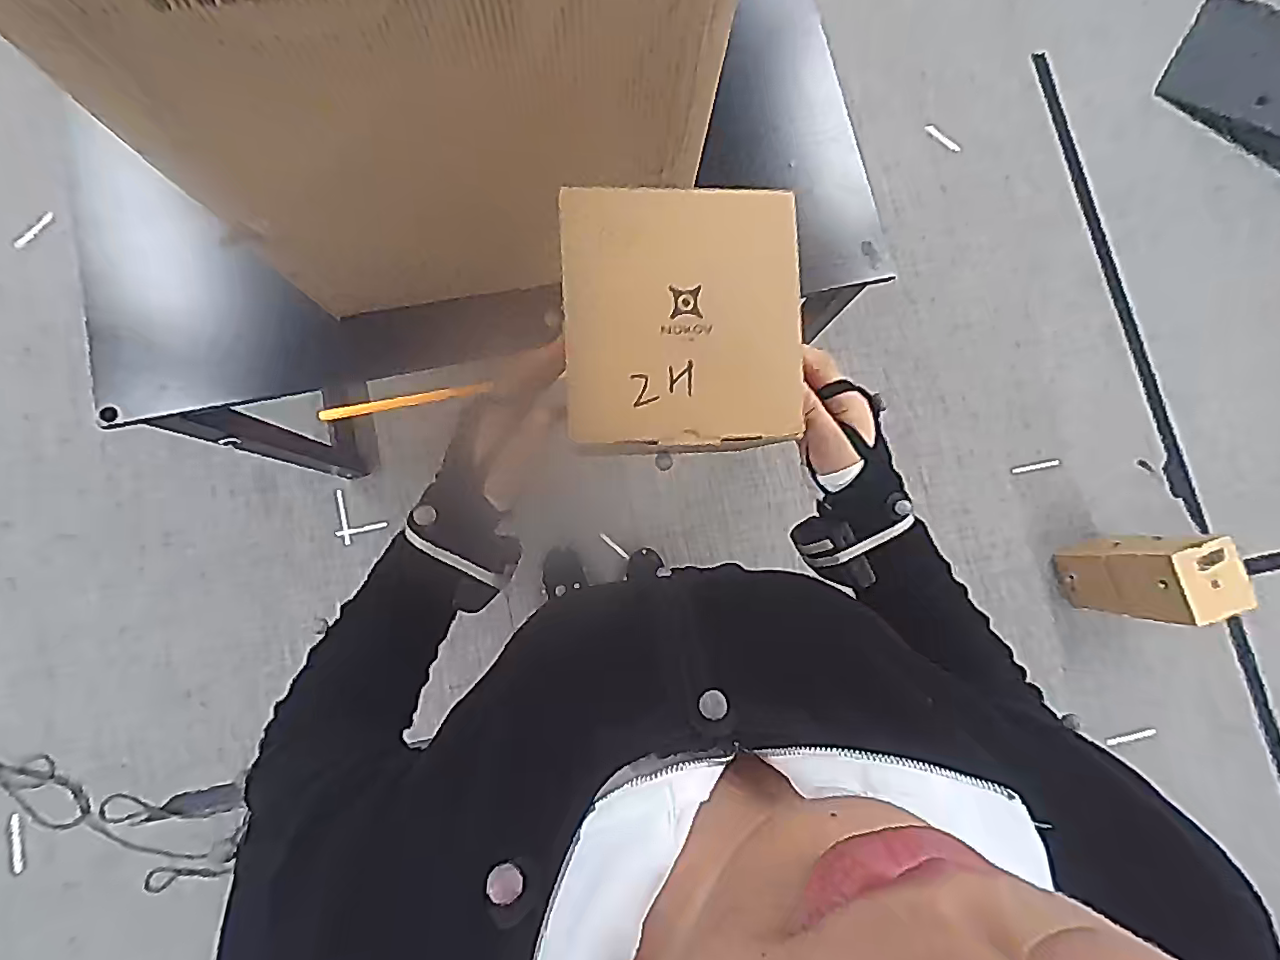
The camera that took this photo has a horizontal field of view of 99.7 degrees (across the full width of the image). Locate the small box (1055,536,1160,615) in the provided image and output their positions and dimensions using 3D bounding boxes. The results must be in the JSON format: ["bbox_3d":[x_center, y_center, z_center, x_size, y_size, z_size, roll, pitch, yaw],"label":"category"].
[{"bbox_3d":[1.317,0.260,1.501,0.179,0.176,0.168,-19,83,-4],"label":"small box"}]

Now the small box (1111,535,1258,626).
[{"bbox_3d":[1.330,0.244,1.337,0.168,0.176,0.179,-17,84,-5],"label":"small box"}]

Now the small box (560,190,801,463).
[{"bbox_3d":[0.020,-0.108,0.448,0.168,0.176,0.179,-2,89,-6],"label":"small box"}]
